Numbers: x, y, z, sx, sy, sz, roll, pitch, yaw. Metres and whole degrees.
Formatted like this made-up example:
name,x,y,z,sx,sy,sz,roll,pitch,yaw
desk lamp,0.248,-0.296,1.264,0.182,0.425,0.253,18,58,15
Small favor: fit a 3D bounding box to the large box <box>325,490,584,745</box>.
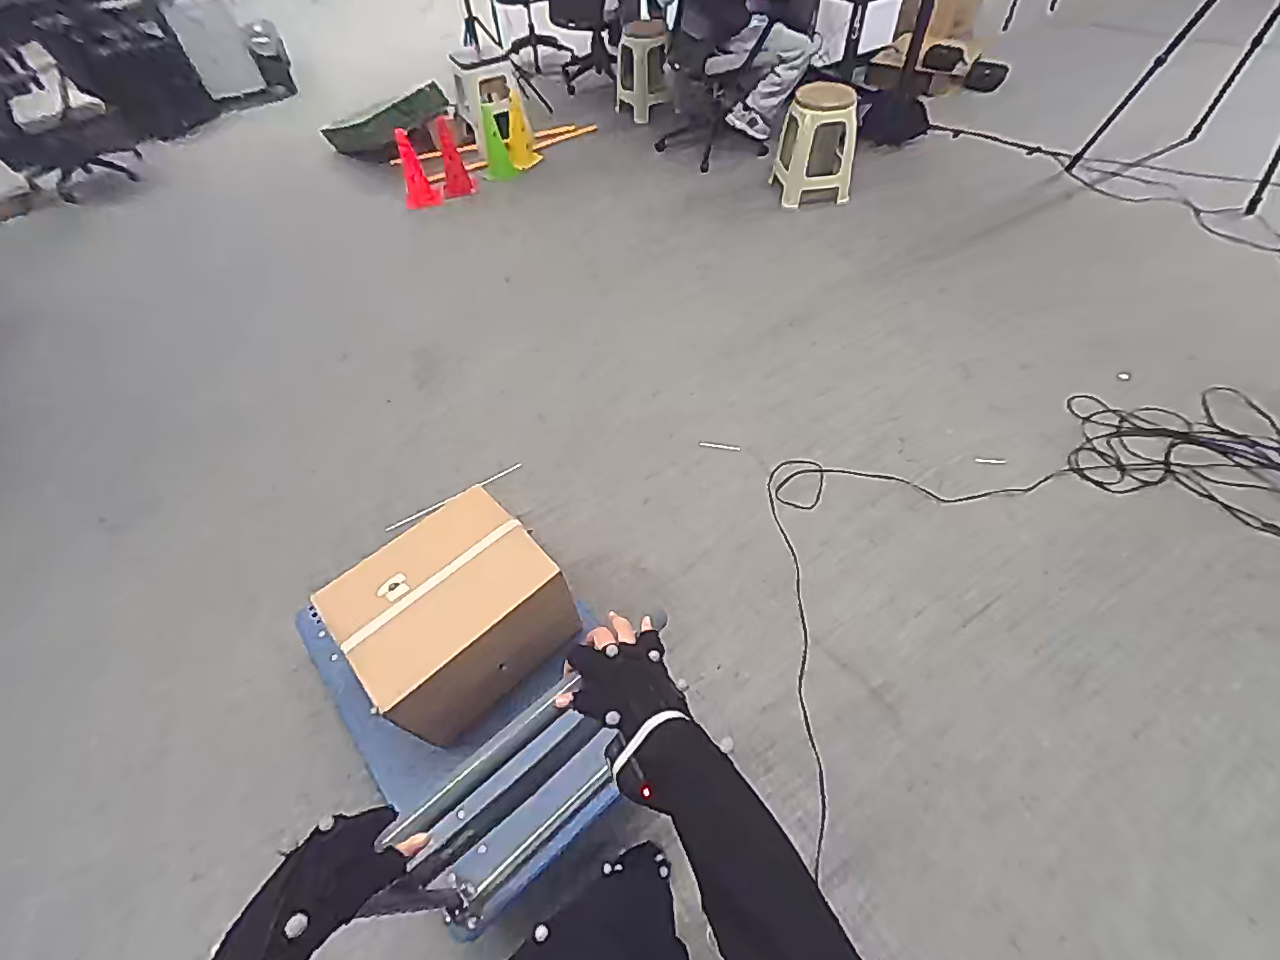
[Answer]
name,x,y,z,sx,sy,sz,roll,pitch,yaw
large box,-0.388,0.308,1.223,0.408,0.320,0.320,-39,59,-21
